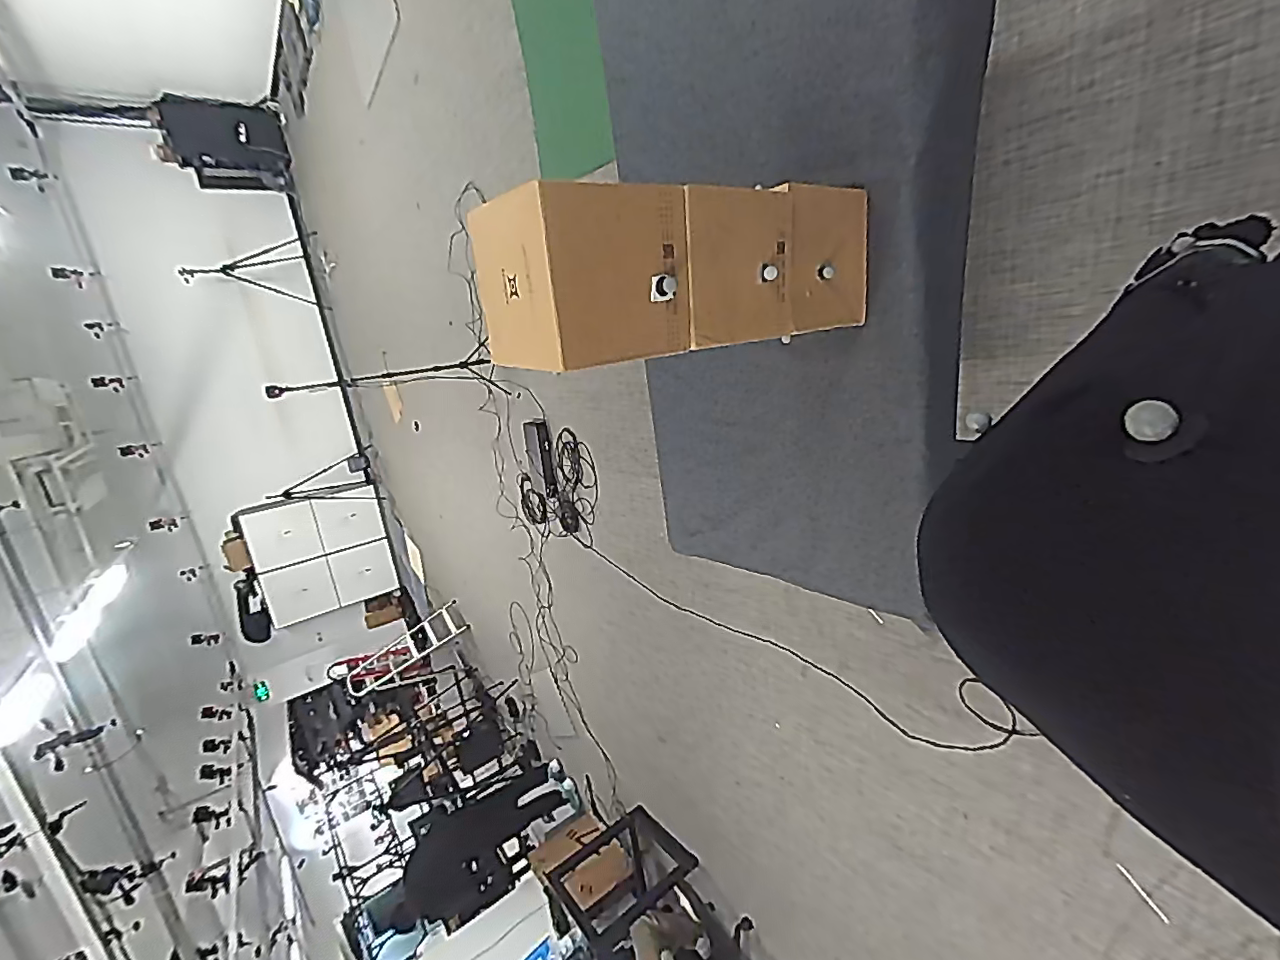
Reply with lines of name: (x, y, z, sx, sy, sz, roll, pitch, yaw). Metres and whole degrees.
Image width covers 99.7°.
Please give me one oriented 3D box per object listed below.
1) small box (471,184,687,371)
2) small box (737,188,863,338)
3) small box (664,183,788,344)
small box: (-0.065, -0.221, 0.606, 0.179, 0.176, 0.168, 19, 121, 51)
small box: (0.201, -0.305, 0.775, 0.168, 0.176, 0.179, 16, 118, 52)
small box: (0.066, -0.264, 0.690, 0.179, 0.176, 0.168, 17, 118, 54)
